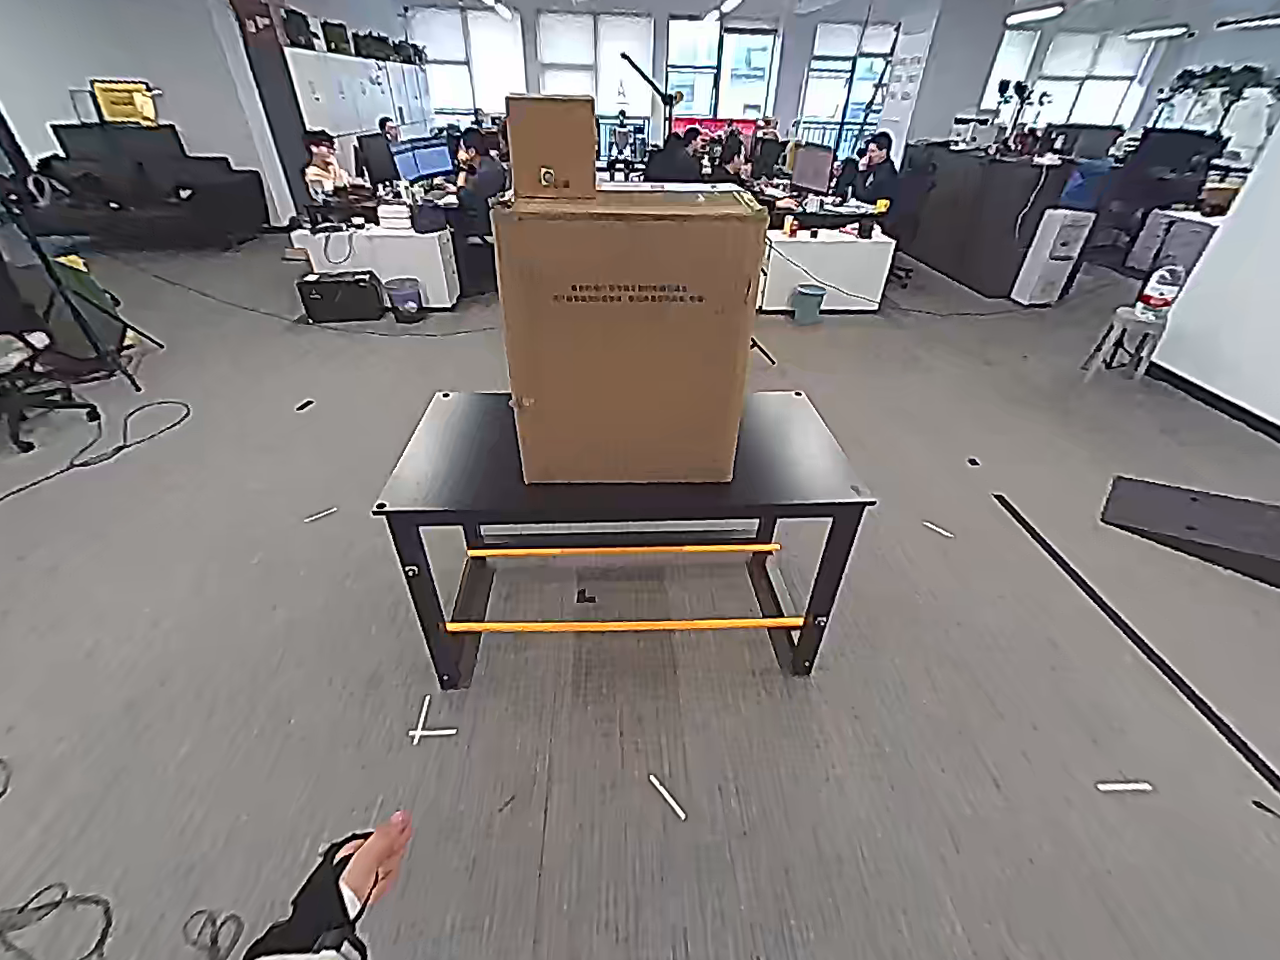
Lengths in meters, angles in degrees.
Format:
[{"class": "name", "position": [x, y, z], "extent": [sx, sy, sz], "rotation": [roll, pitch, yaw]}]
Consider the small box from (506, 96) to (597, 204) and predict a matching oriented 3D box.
[{"class": "small box", "position": [-0.175, -0.669, 1.093], "extent": [0.168, 0.176, 0.179], "rotation": [-4, 38, -7]}]
